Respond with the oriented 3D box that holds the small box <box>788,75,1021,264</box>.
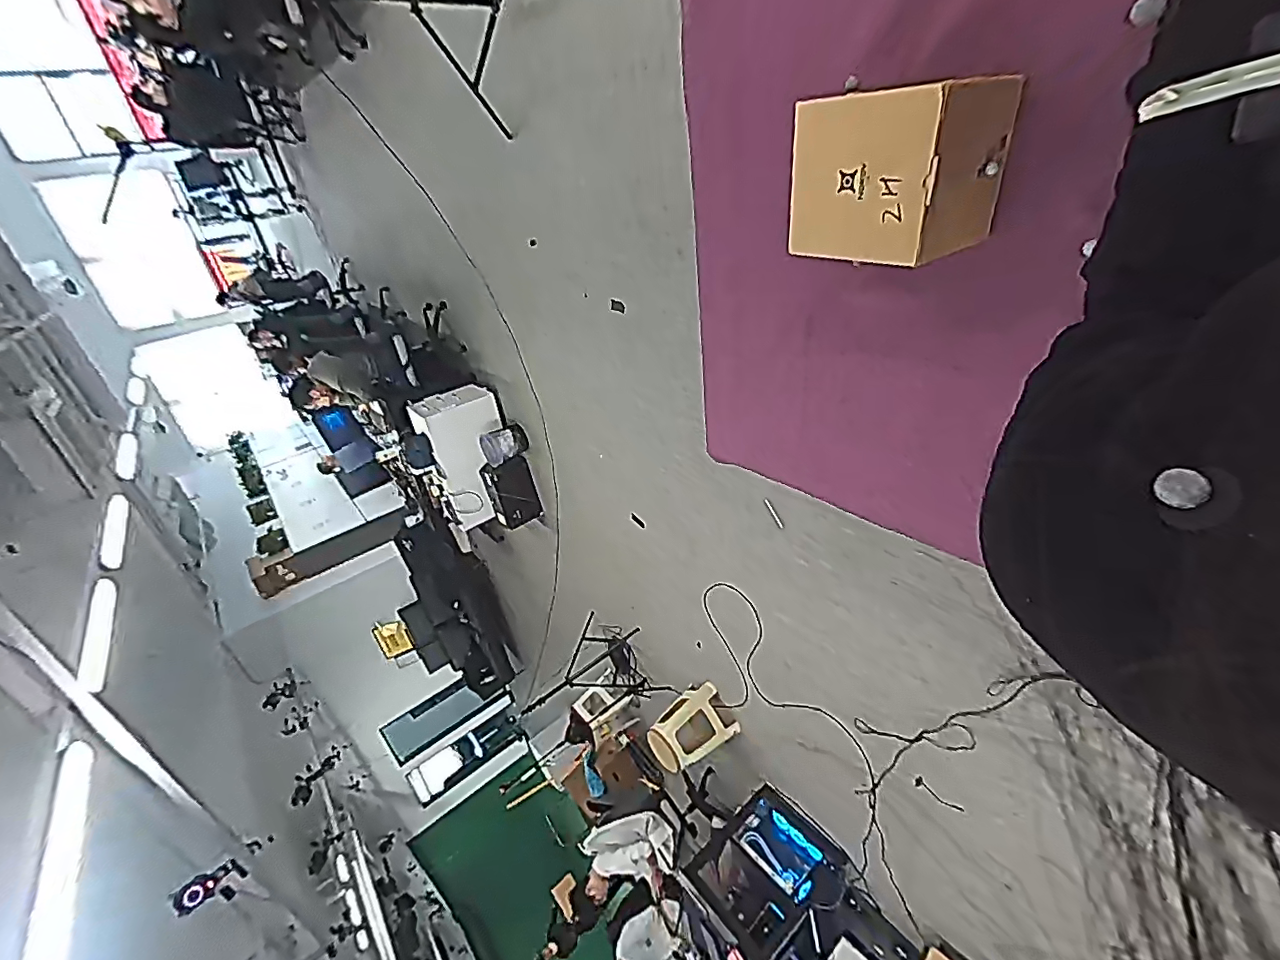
[{"bbox_3d":[0.303,-0.367,0.642,0.179,0.176,0.168,31,139,44],"label":"small box"}]
